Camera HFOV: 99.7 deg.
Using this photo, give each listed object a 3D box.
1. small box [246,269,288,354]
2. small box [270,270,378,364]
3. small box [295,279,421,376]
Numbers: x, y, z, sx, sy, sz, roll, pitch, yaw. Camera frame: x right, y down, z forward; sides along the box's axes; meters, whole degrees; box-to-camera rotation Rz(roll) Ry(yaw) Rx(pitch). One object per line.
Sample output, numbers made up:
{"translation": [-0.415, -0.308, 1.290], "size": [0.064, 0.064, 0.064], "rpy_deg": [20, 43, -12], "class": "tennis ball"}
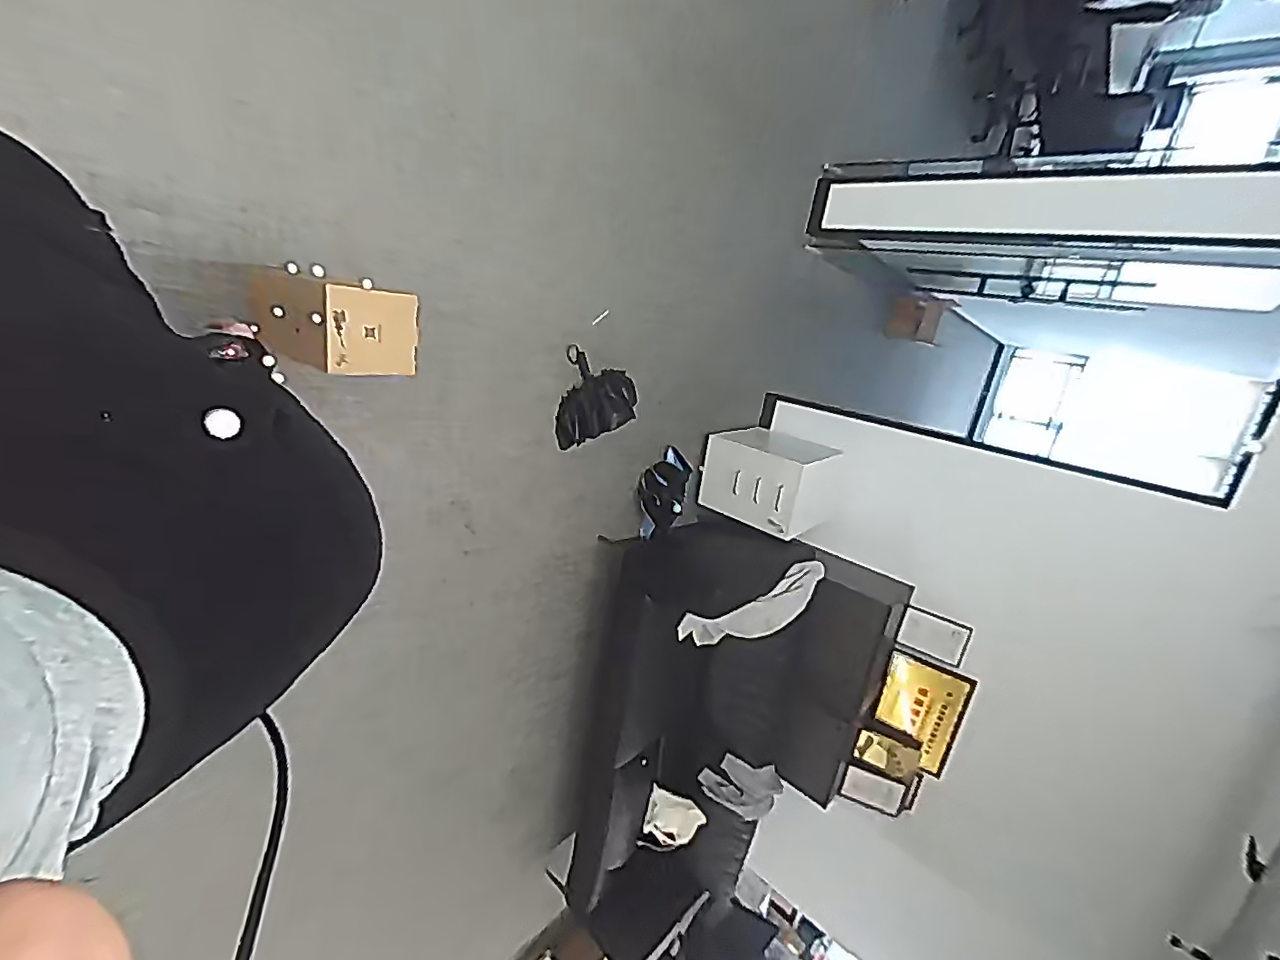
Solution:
{"translation": [-0.820, -0.402, 1.300], "size": [0.168, 0.176, 0.179], "rpy_deg": [-14, 117, -48], "class": "small box"}
{"translation": [-0.696, -0.359, 1.201], "size": [0.168, 0.176, 0.179], "rpy_deg": [-15, 118, -48], "class": "small box"}
{"translation": [-0.574, -0.311, 1.104], "size": [0.179, 0.176, 0.168], "rpy_deg": [-13, 117, -49], "class": "small box"}
